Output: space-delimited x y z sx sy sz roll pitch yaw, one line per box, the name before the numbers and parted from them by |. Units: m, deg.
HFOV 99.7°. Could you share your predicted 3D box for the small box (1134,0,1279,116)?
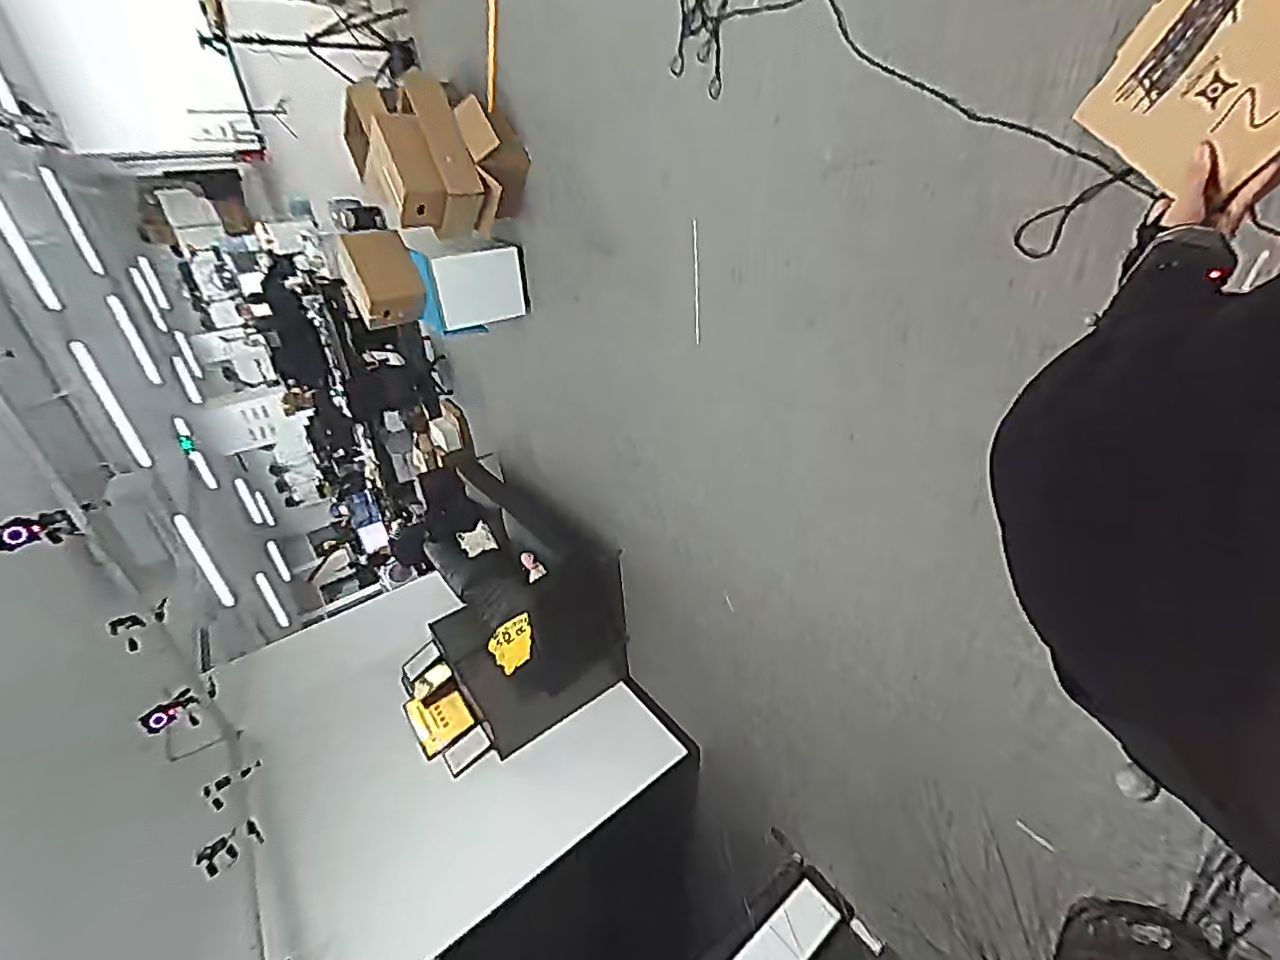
small box | 0.973 -0.705 0.882 0.168 0.176 0.179 35 138 42
